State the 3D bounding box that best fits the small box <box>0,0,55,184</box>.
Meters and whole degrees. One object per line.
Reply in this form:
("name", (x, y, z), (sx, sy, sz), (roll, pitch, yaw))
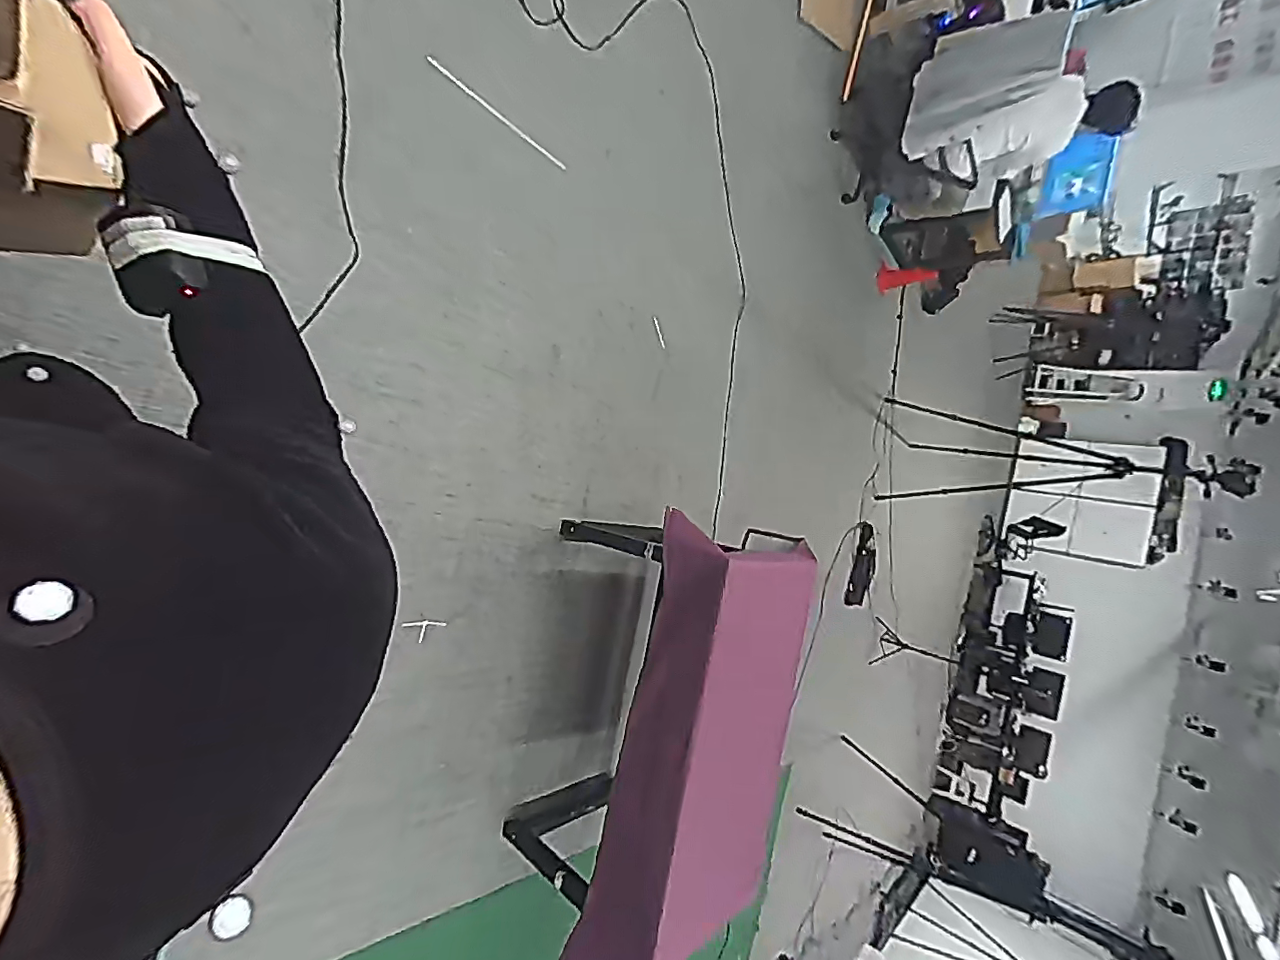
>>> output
("small box", (-0.381, -0.261, 0.234), (0.168, 0.176, 0.179), (-2, 101, -49))
